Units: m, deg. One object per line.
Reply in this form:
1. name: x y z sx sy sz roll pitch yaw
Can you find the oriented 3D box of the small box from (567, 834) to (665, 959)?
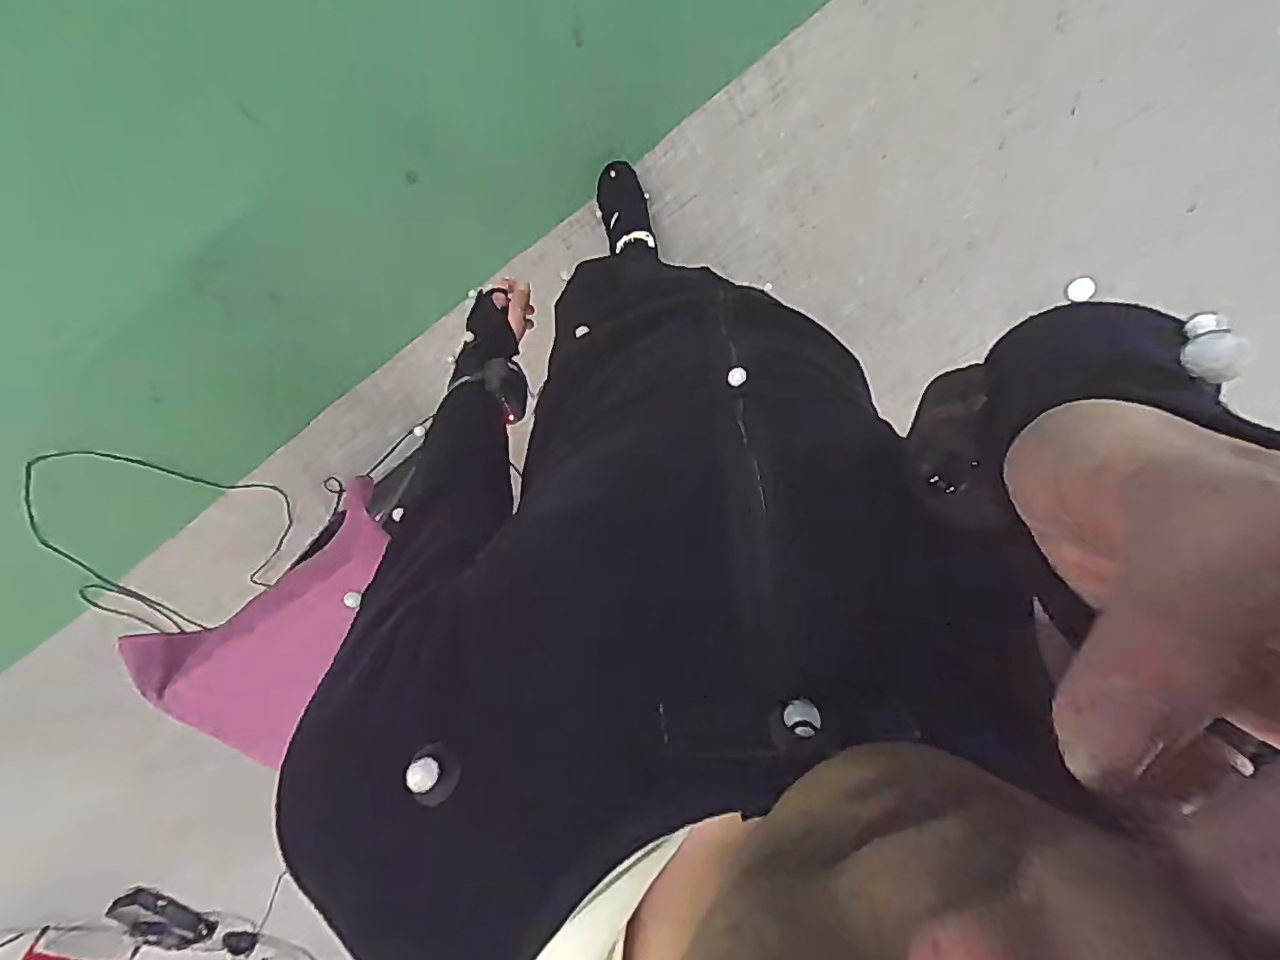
1. small box: -0.059 1.024 1.334 0.179 0.176 0.168 -36 114 13
